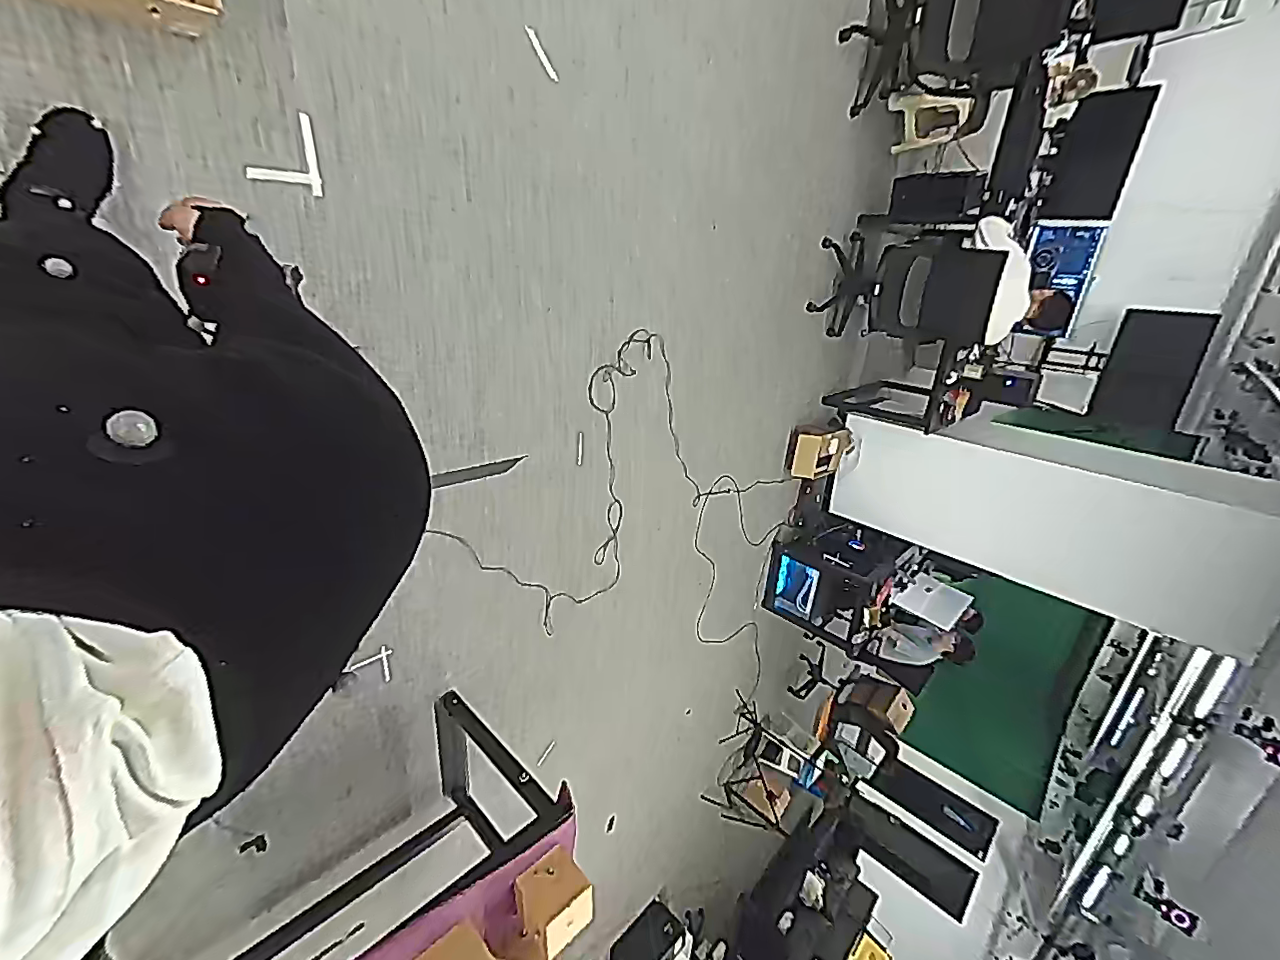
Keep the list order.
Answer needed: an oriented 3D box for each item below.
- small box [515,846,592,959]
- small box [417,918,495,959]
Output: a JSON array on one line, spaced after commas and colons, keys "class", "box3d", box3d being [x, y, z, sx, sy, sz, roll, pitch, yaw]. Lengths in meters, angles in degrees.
[{"class": "small box", "box3d": [-0.260, 1.265, 1.632, 0.168, 0.176, 0.179, -20, 122, -40]}, {"class": "small box", "box3d": [-0.482, 1.314, 1.403, 0.179, 0.176, 0.168, -17, 121, -44]}]
